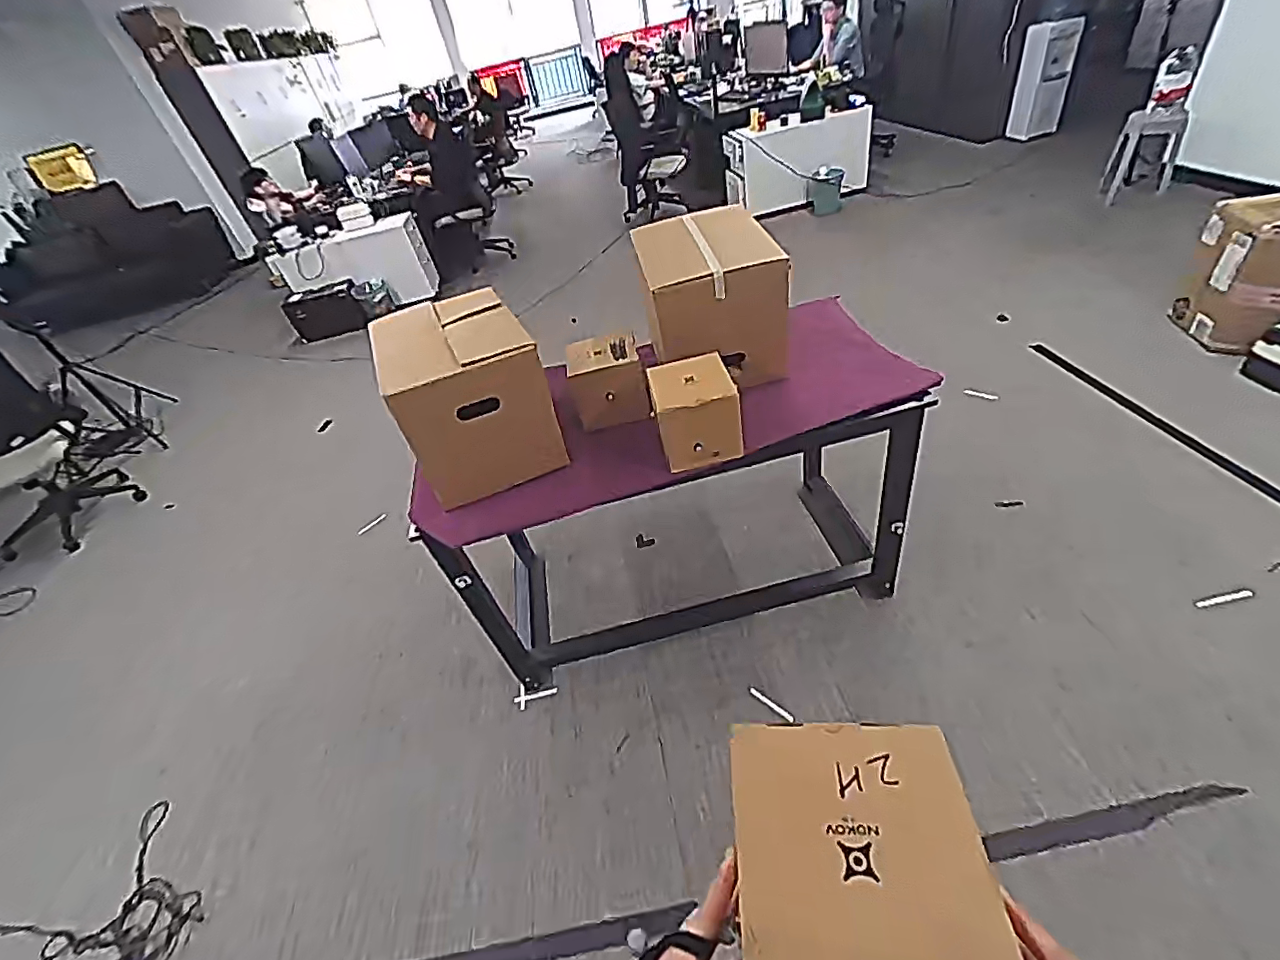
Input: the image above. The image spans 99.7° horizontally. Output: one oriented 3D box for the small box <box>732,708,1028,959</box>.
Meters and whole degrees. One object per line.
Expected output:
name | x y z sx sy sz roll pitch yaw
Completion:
small box | 0.162 0.303 0.423 0.168 0.176 0.179 -3 39 8
